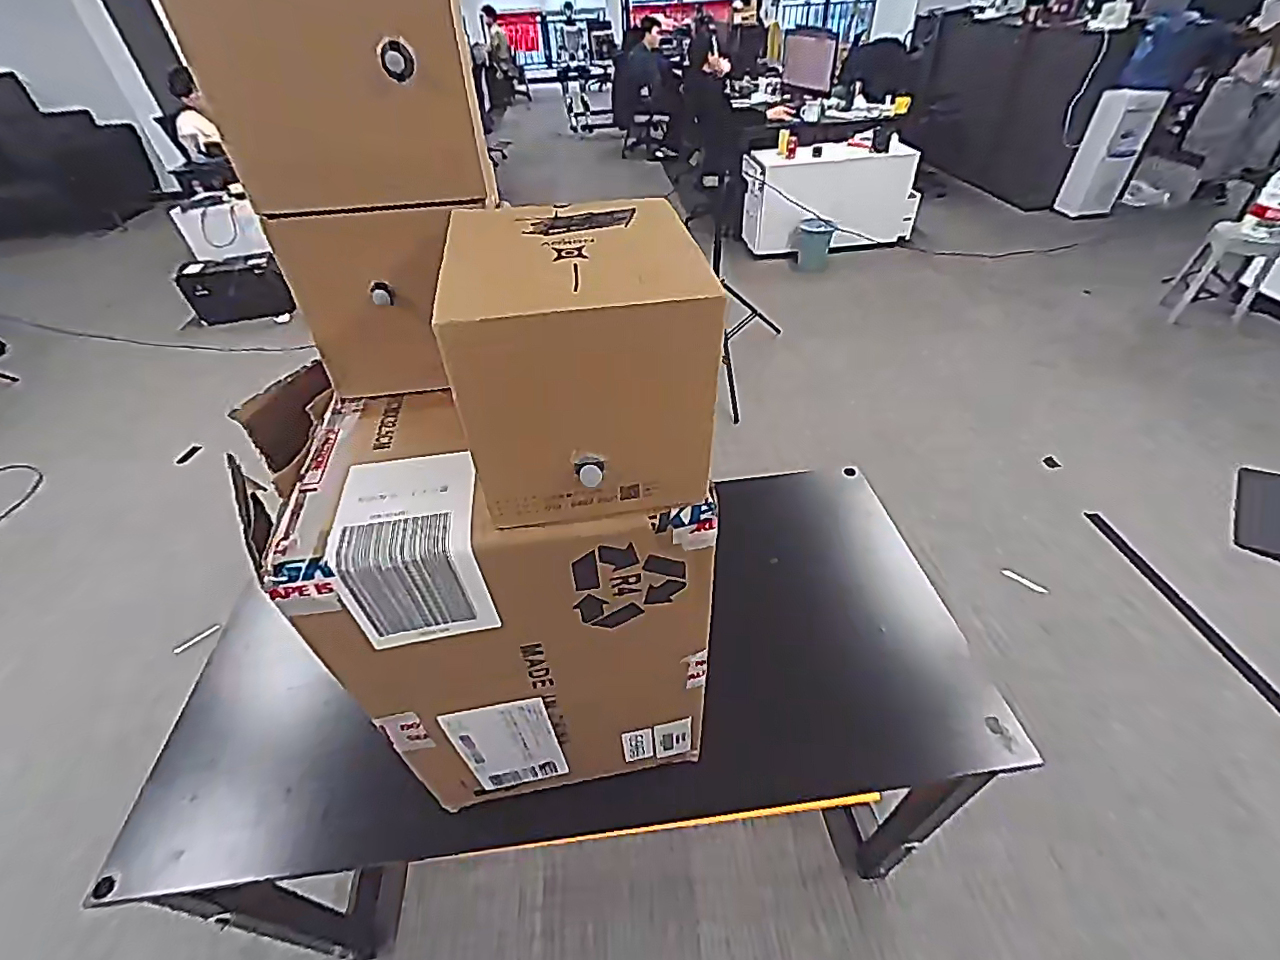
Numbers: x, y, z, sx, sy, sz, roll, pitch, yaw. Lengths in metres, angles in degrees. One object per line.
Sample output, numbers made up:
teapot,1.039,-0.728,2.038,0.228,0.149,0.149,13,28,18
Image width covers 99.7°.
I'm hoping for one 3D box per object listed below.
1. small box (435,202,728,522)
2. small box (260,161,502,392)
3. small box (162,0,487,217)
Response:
small box,-0.043,-0.093,0.411,0.168,0.176,0.179,-8,44,-7
small box,-0.219,-0.201,0.536,0.179,0.176,0.168,-8,41,-6
small box,-0.222,-0.322,0.426,0.179,0.176,0.168,-10,40,-8
